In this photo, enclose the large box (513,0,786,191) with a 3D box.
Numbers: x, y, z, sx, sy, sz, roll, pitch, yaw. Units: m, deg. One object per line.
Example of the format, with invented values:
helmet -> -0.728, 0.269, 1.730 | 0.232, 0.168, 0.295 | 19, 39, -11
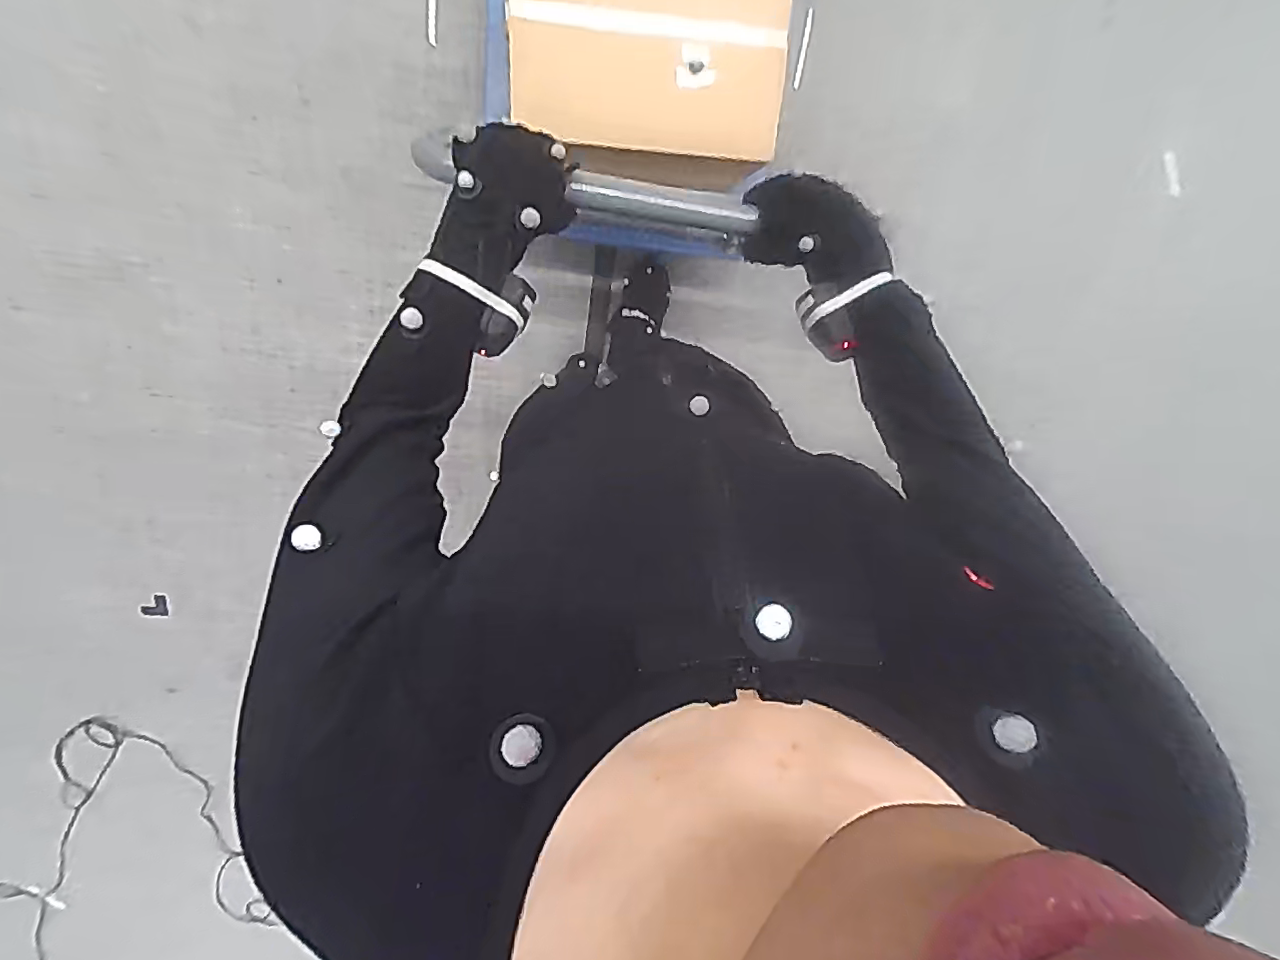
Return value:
large box -> -0.003, -0.708, 0.931 | 0.408, 0.320, 0.320 | 1, 109, -8
